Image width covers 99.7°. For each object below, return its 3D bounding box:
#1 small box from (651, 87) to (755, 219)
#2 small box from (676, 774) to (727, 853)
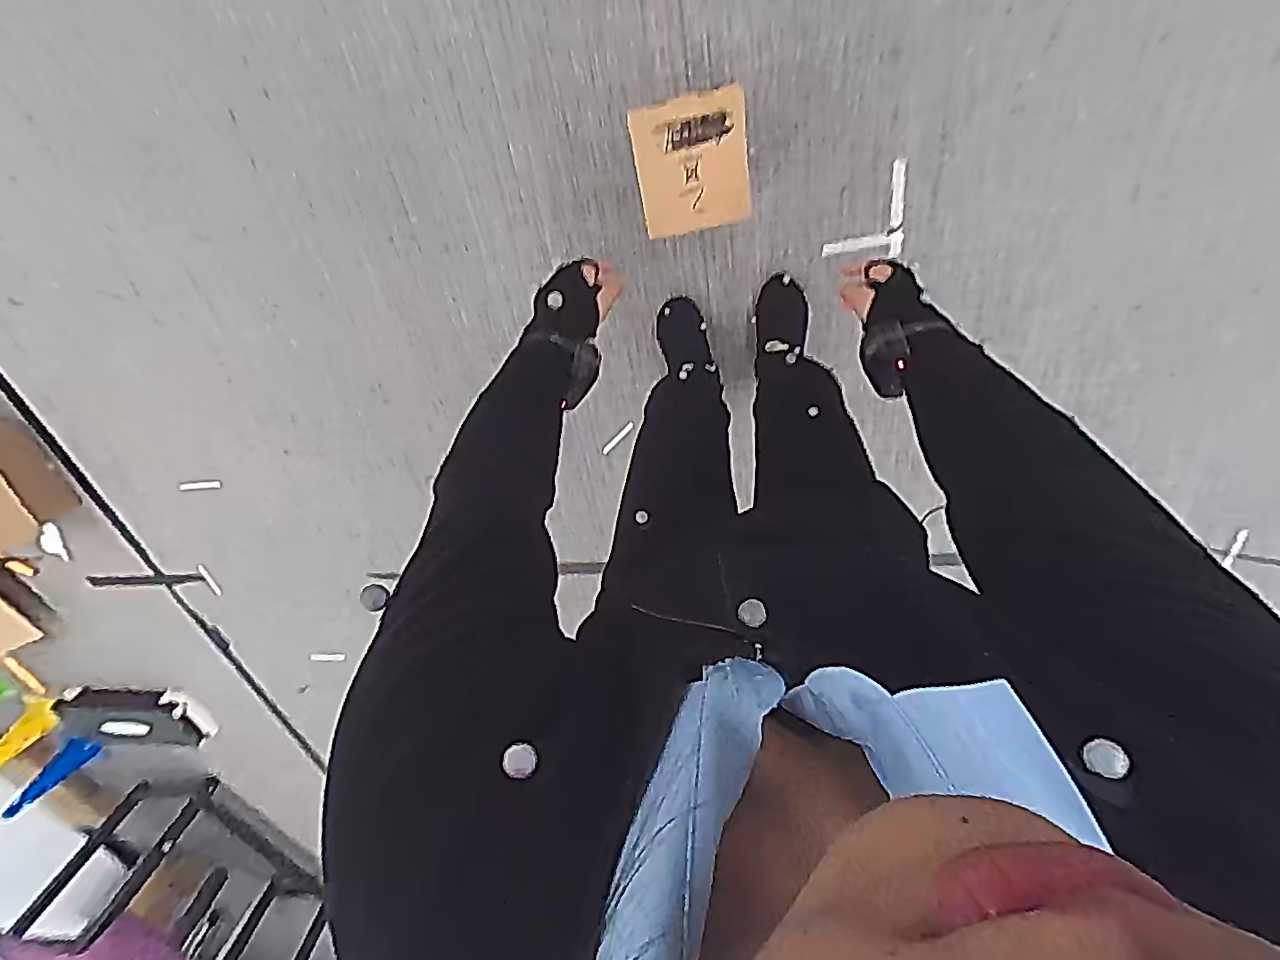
[{"bbox_3d":[0.119,-0.601,1.003,0.168,0.176,0.179,-6,121,11],"label":"small box"},{"bbox_3d":[0.214,1.142,1.855,0.168,0.176,0.179,-2,121,8],"label":"small box"}]
